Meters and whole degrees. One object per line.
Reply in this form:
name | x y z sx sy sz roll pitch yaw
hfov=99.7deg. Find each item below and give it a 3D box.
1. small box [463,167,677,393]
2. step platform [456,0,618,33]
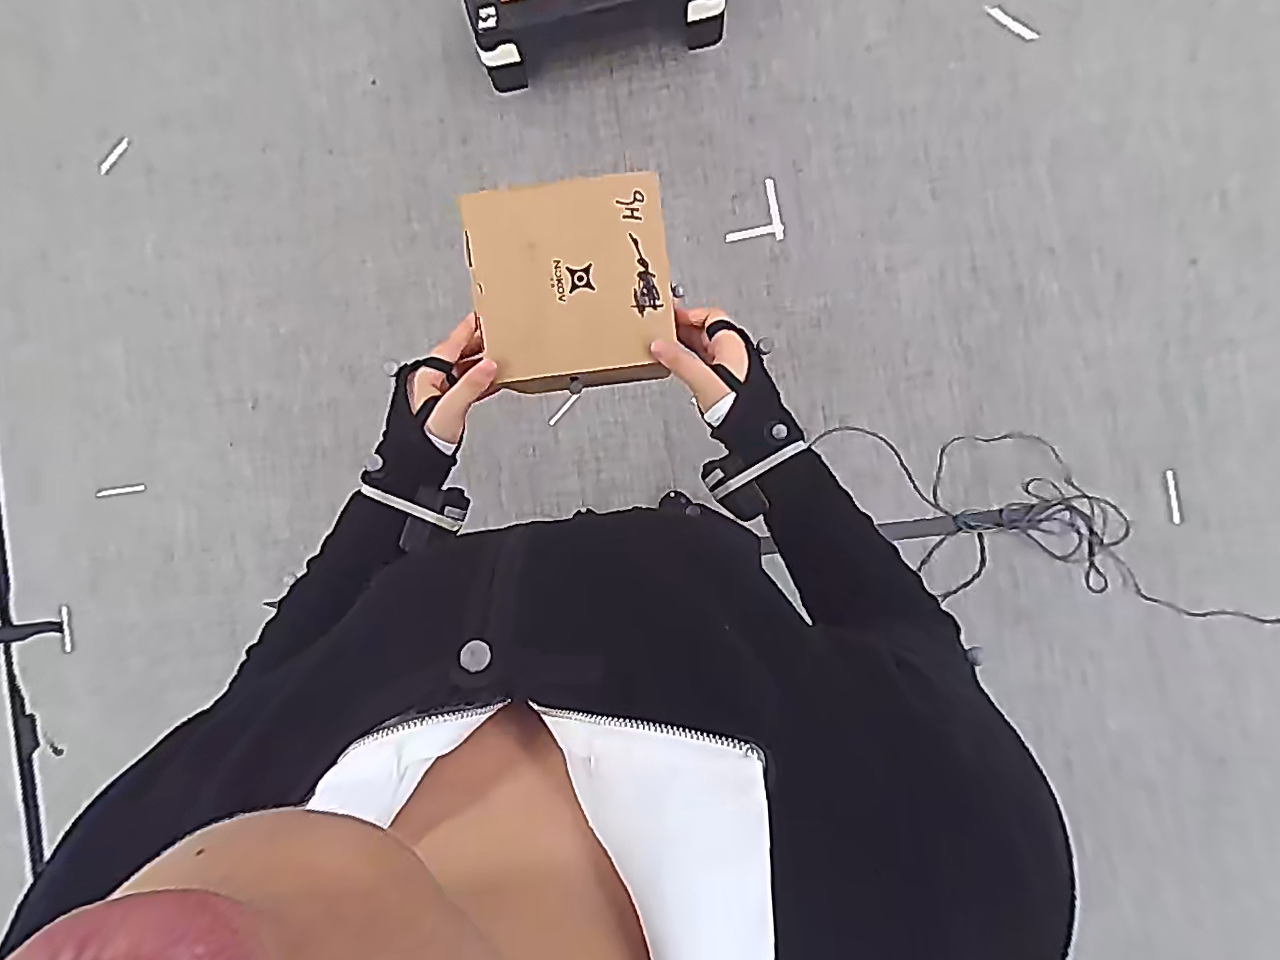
small box | -0.059 -0.185 0.552 0.179 0.176 0.168 -7 94 1
step platform | -0.124 -1.279 1.223 0.684 0.204 0.286 -10 88 3
